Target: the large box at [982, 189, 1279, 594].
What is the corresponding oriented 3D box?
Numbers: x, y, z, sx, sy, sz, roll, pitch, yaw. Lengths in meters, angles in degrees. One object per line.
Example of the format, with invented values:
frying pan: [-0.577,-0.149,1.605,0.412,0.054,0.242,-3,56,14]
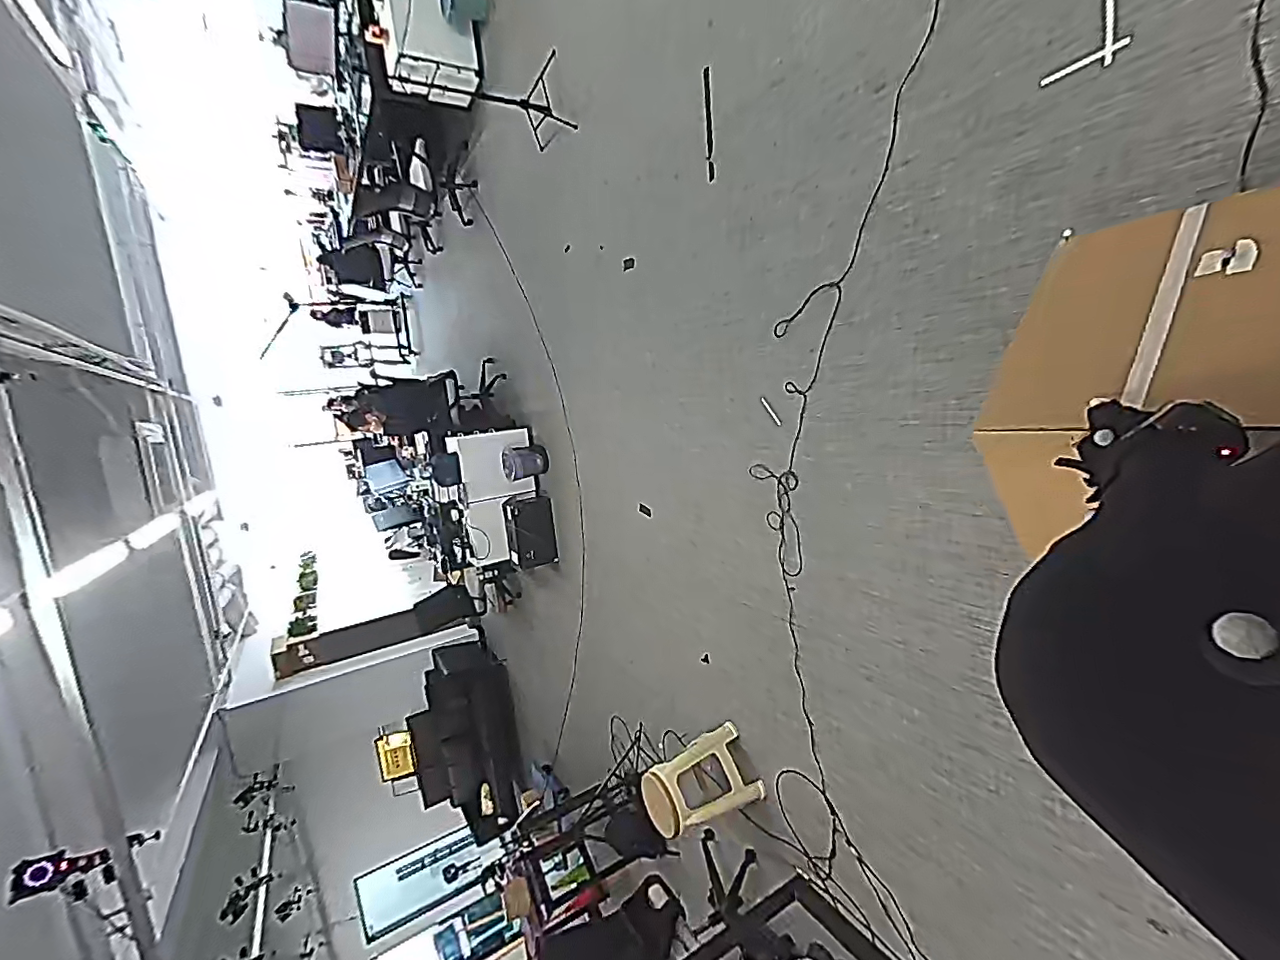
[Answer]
large box: [0.731,-0.111,0.725,0.320,0.408,0.320,47,158,-29]
